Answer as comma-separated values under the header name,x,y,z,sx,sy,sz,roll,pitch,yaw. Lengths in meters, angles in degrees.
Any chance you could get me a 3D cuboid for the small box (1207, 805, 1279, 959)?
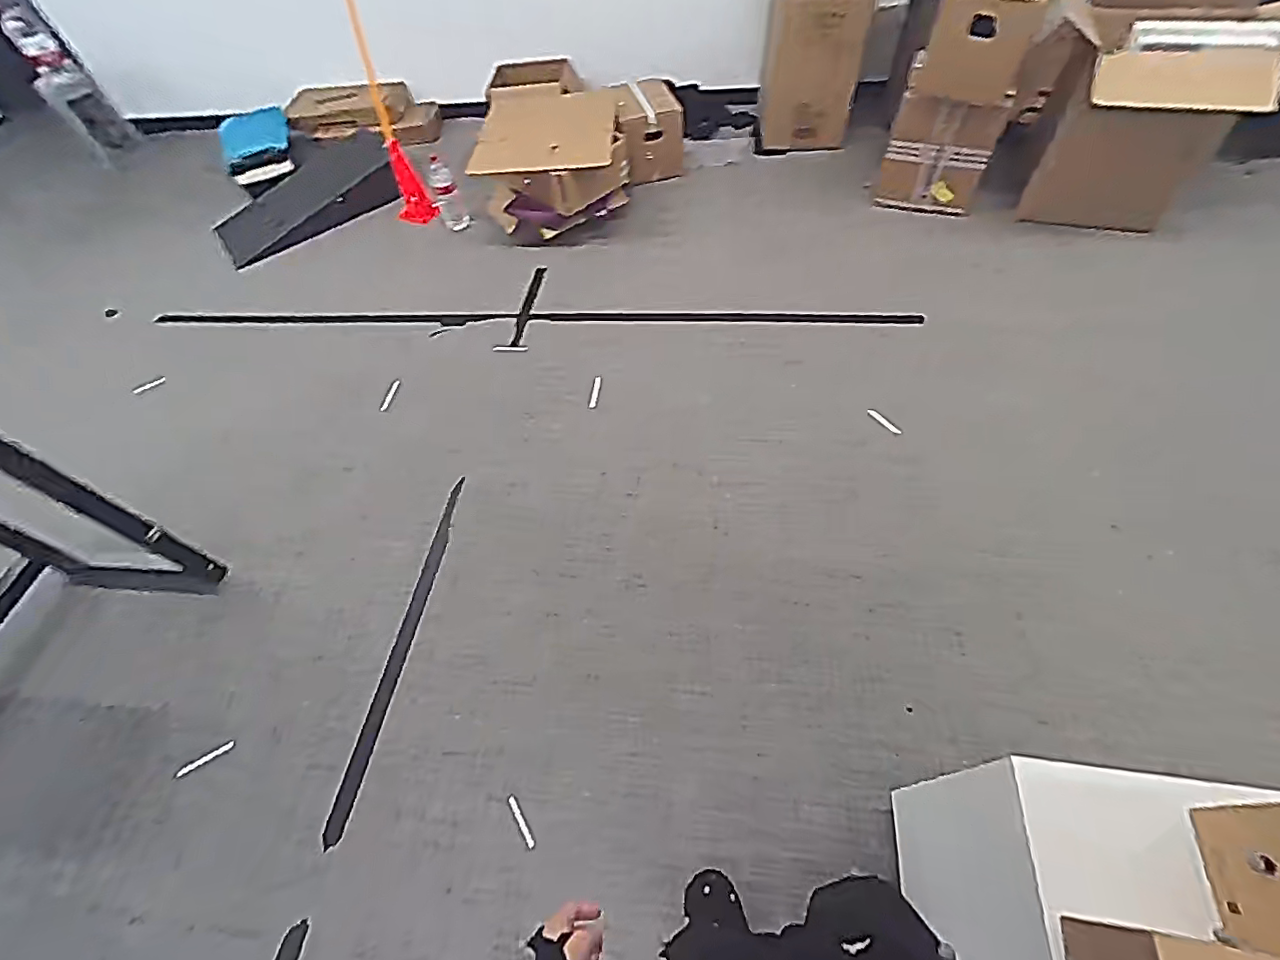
name,x,y,z,sx,sy,sz,roll,pitch,yaw
small box,0.766,0.458,0.568,0.179,0.176,0.168,7,57,10
